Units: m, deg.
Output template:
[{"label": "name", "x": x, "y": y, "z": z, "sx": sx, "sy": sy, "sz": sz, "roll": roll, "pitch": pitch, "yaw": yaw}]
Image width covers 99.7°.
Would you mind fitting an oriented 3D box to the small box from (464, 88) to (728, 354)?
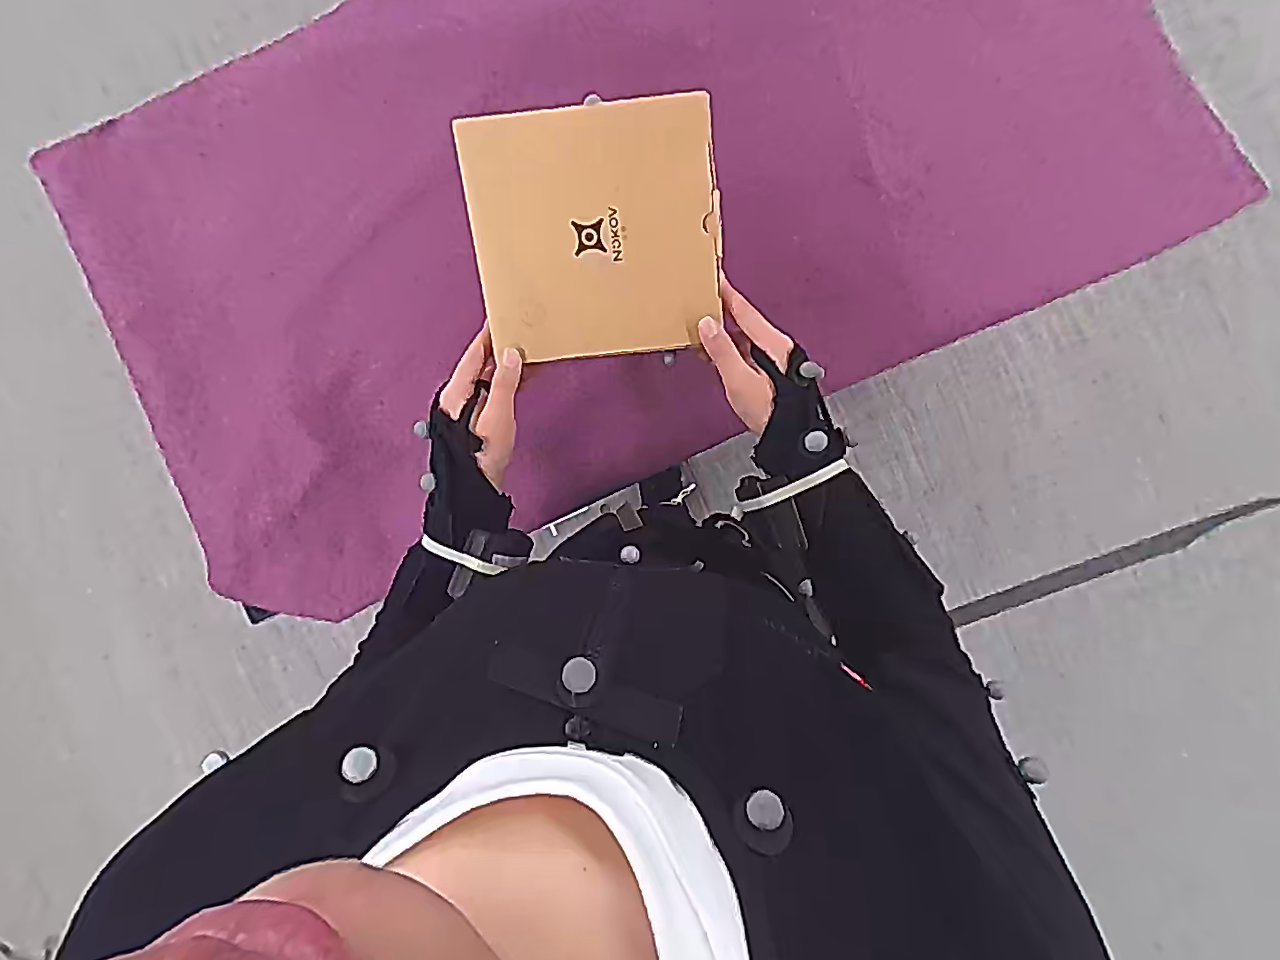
[{"label": "small box", "x": -0.028, "y": -0.198, "z": 0.460, "sx": 0.179, "sy": 0.176, "sz": 0.168, "roll": -5, "pitch": 106, "yaw": 0}]
